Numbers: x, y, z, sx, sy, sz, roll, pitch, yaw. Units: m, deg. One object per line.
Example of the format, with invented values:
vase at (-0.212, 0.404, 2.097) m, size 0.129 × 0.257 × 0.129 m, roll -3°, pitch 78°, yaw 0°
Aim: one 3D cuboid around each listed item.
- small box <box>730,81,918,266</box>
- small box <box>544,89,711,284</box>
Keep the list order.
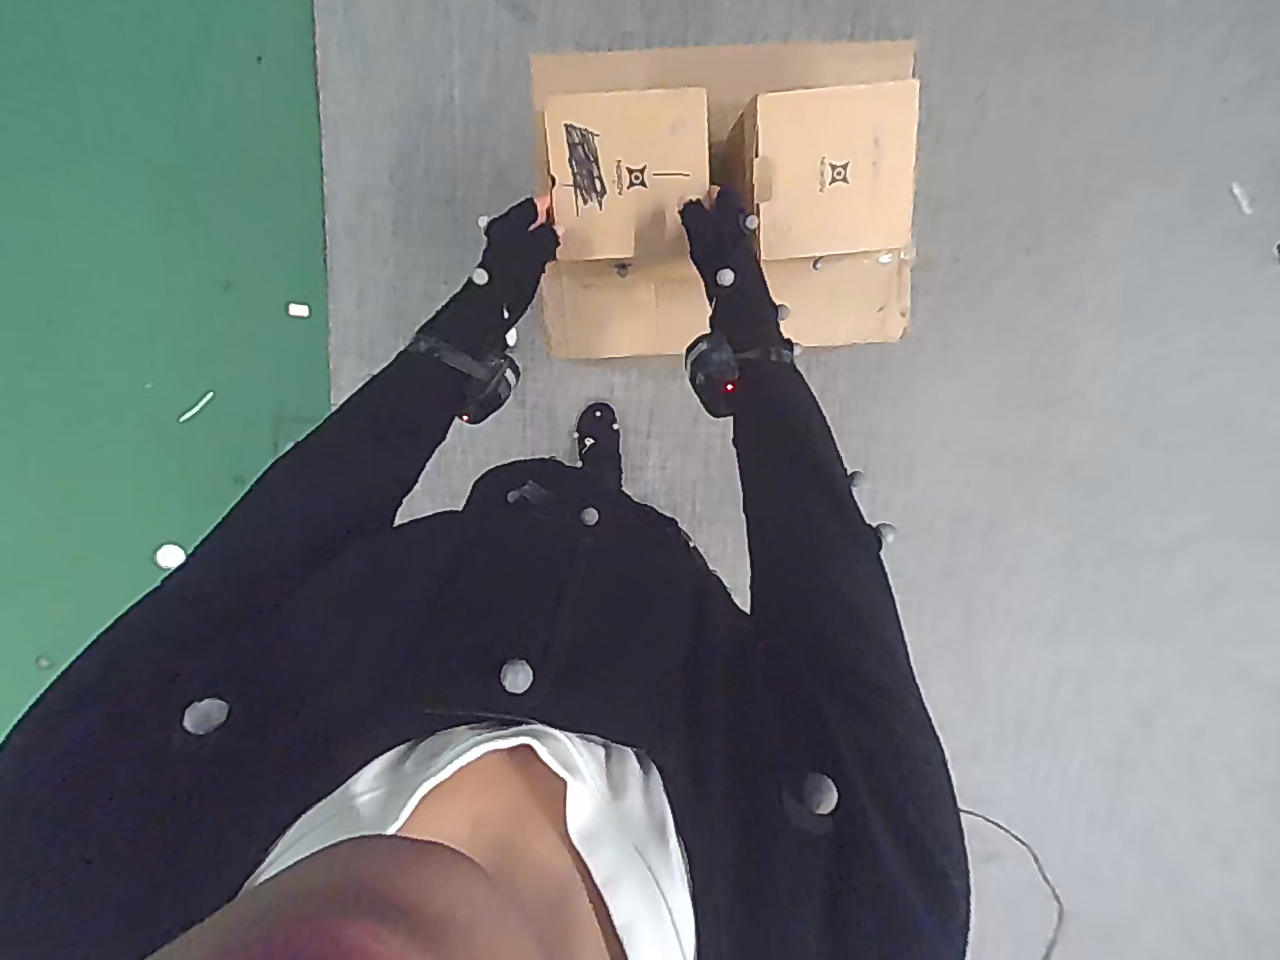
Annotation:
small box at (0.210, -0.363, 0.670) m, size 0.179 × 0.176 × 0.168 m, roll -6°, pitch 110°, yaw -1°
small box at (-0.012, -0.341, 0.661) m, size 0.179 × 0.176 × 0.168 m, roll -3°, pitch 101°, yaw -1°
